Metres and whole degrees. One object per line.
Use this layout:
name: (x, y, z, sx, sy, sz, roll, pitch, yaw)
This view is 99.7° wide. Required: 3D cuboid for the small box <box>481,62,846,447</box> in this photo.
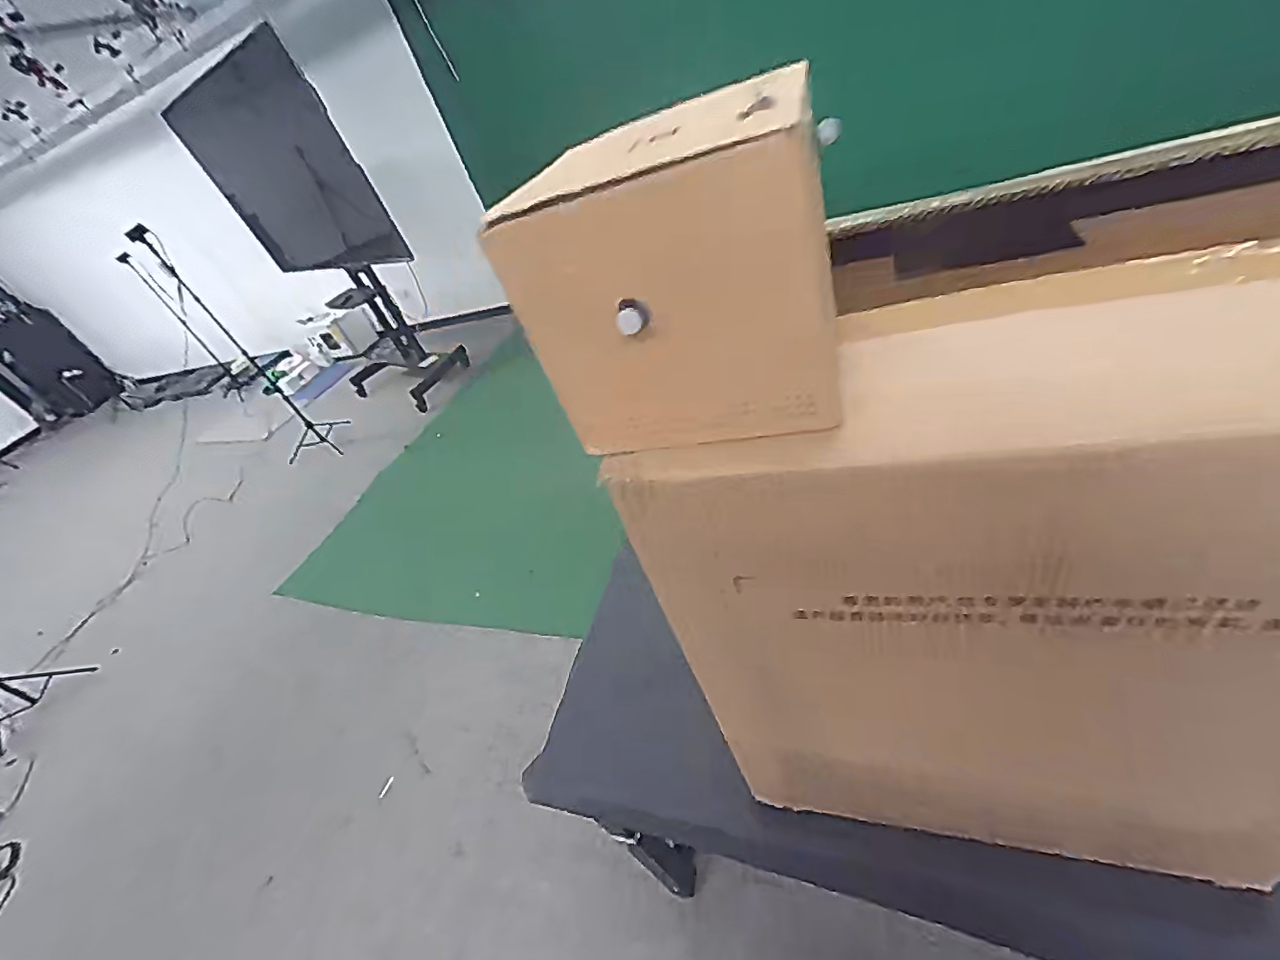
small box: (0.035, -0.138, 0.365, 0.179, 0.176, 0.168, -6, 43, 23)
